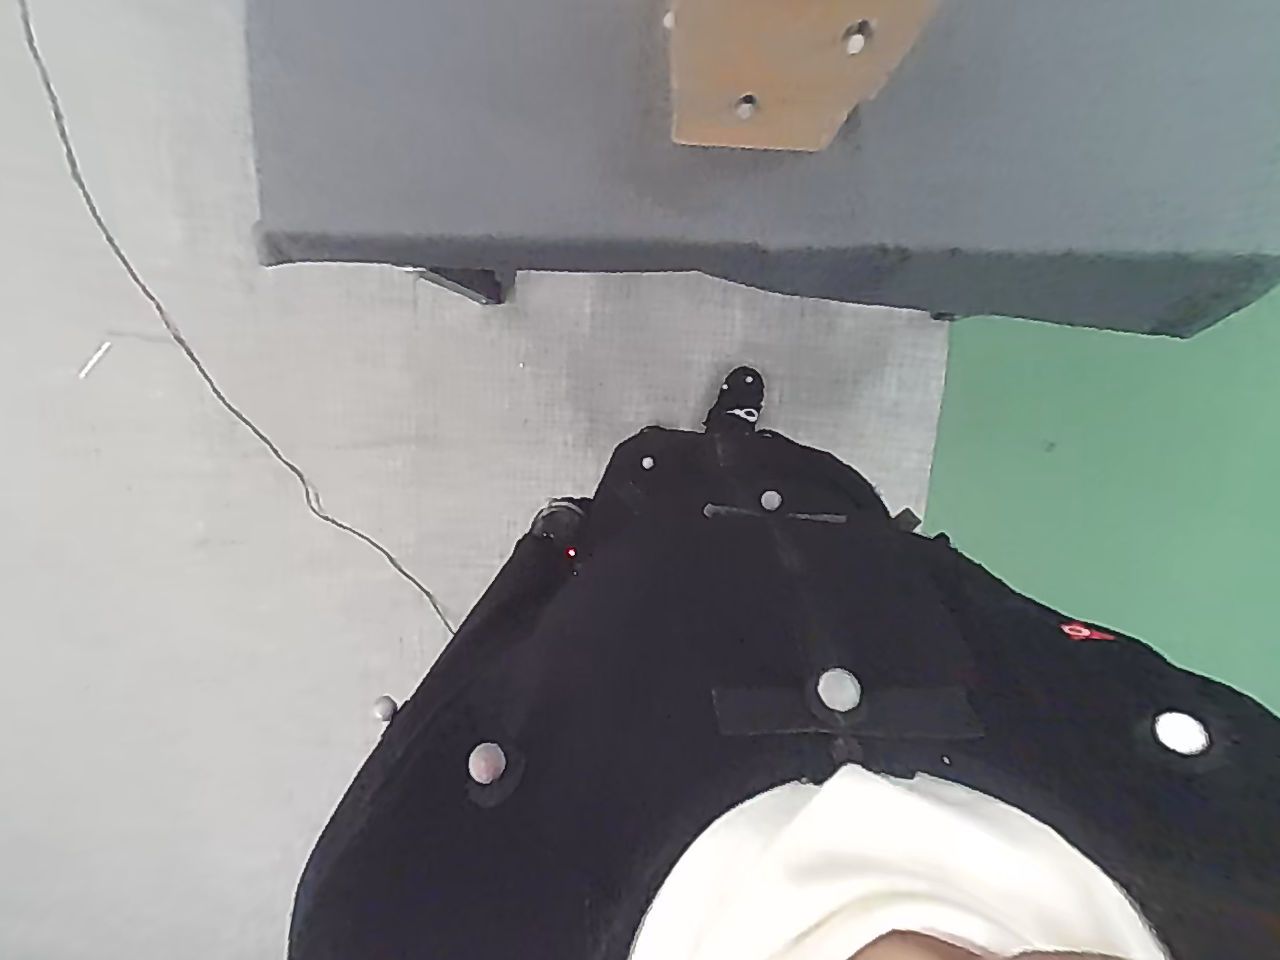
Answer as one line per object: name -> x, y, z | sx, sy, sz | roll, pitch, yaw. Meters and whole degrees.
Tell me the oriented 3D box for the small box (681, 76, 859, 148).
small box -> 0.131, -0.453, 0.536 | 0.179, 0.176, 0.168 | 1, 98, 2
